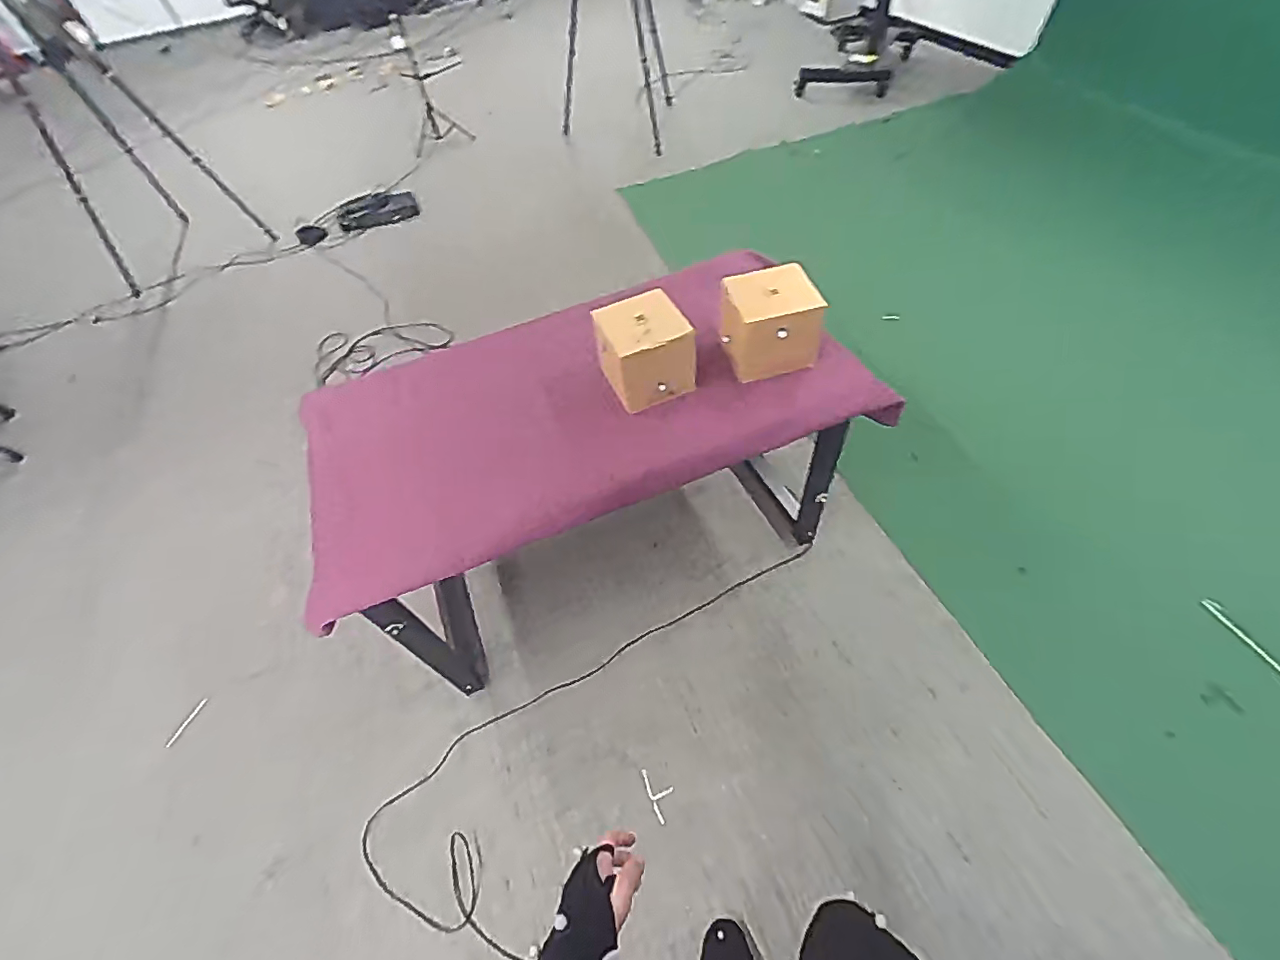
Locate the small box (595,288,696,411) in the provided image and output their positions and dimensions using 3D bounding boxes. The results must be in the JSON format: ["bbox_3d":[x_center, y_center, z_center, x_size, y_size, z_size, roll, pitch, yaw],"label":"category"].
[{"bbox_3d":[0.014,-0.283,1.183,0.168,0.176,0.179,-22,55,-8],"label":"small box"}]

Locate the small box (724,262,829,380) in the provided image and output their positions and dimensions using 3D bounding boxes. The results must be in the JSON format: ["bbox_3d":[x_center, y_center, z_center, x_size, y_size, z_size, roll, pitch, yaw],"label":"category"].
[{"bbox_3d":[0.291,-0.348,1.197,0.179,0.176,0.168,-14,54,-2],"label":"small box"}]
